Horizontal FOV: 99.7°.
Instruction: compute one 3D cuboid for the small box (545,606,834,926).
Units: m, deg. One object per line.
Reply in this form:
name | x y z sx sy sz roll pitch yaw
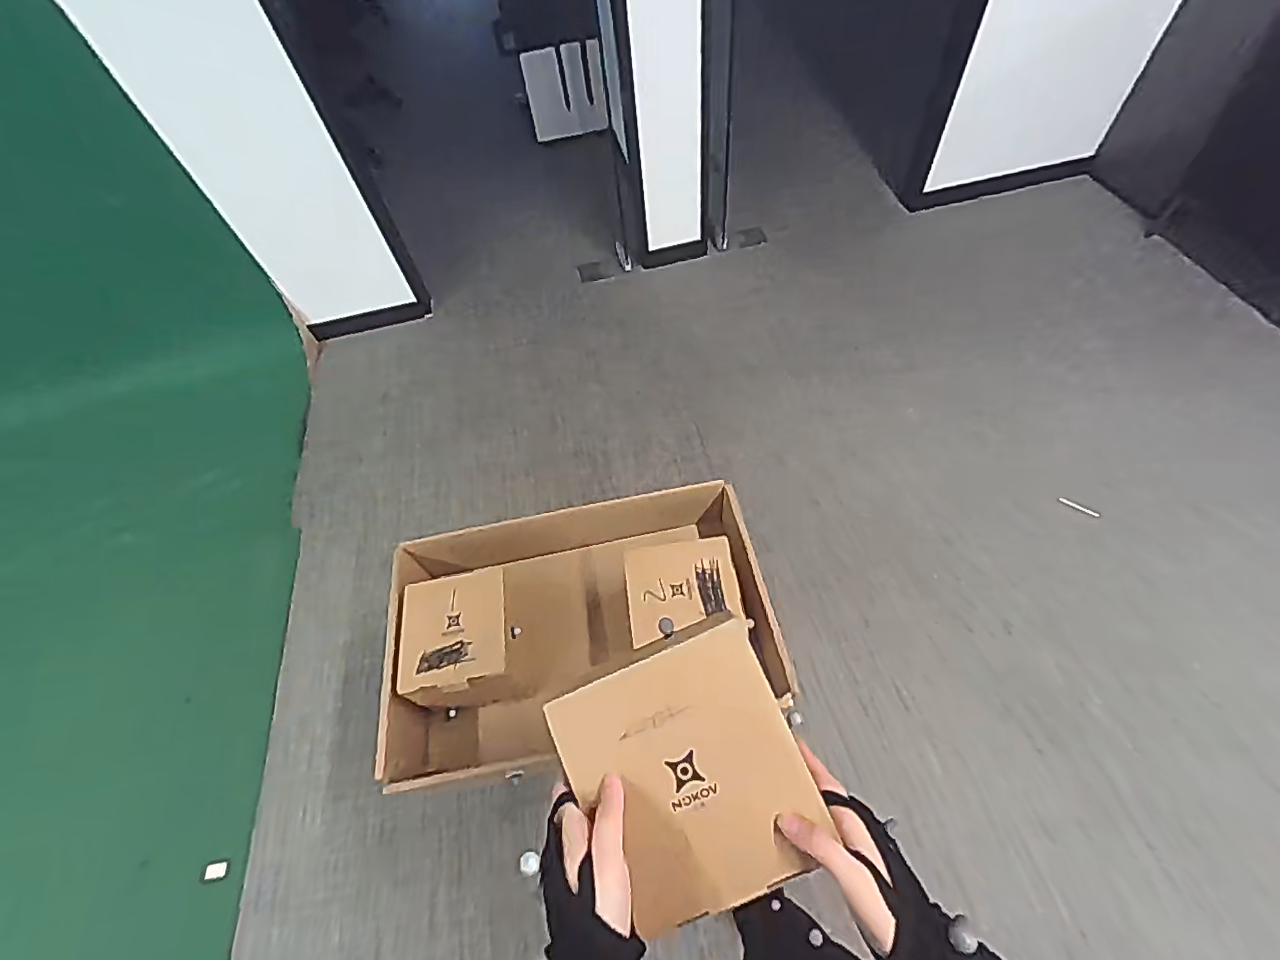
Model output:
small box | 0.042 0.223 0.475 0.168 0.176 0.179 -24 77 2
